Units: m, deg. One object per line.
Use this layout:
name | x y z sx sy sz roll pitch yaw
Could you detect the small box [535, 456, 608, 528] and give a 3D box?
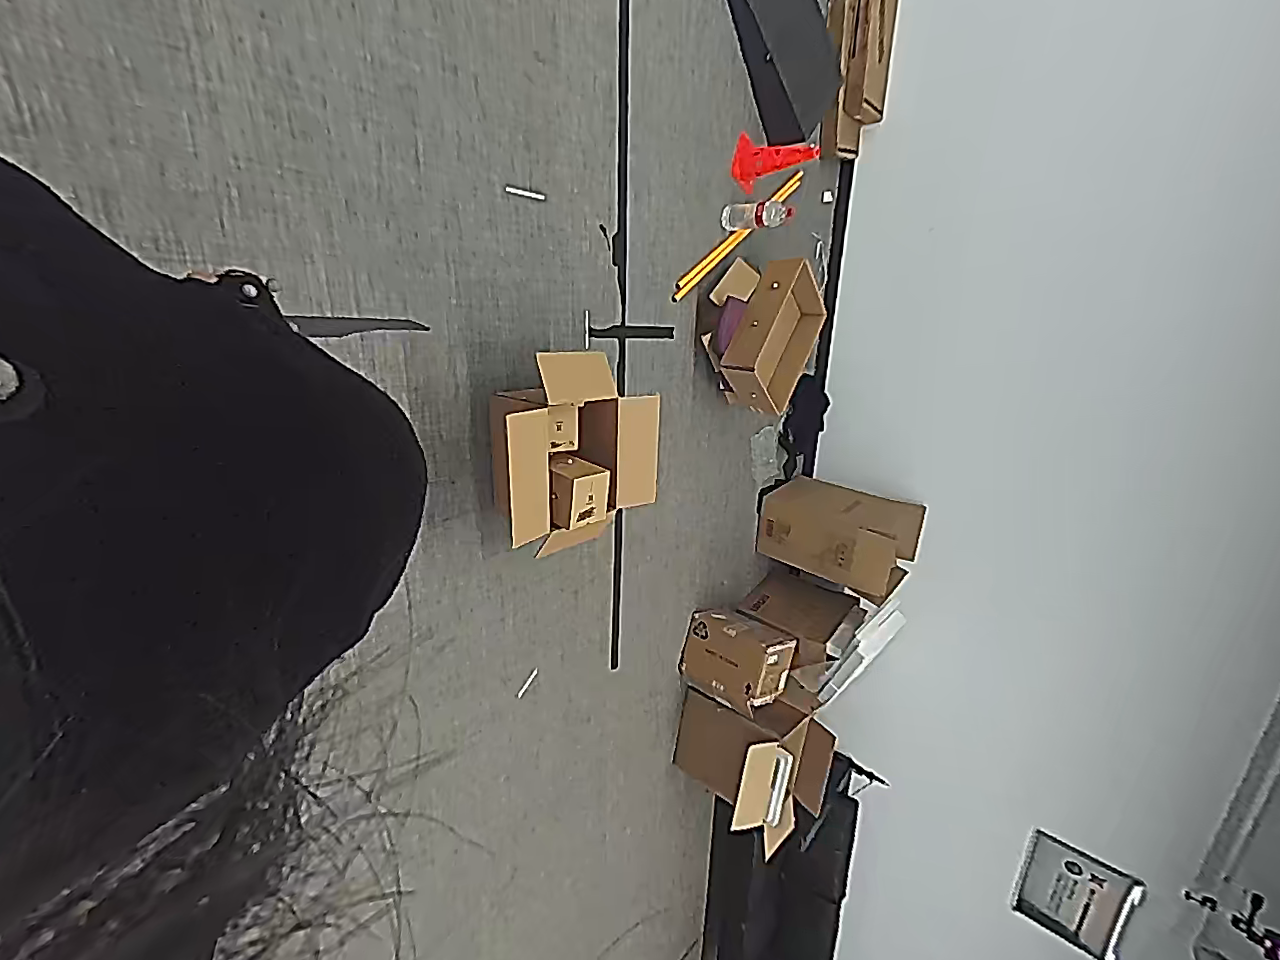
small box | -0.227 0.034 1.774 0.168 0.176 0.179 -15 118 -48
